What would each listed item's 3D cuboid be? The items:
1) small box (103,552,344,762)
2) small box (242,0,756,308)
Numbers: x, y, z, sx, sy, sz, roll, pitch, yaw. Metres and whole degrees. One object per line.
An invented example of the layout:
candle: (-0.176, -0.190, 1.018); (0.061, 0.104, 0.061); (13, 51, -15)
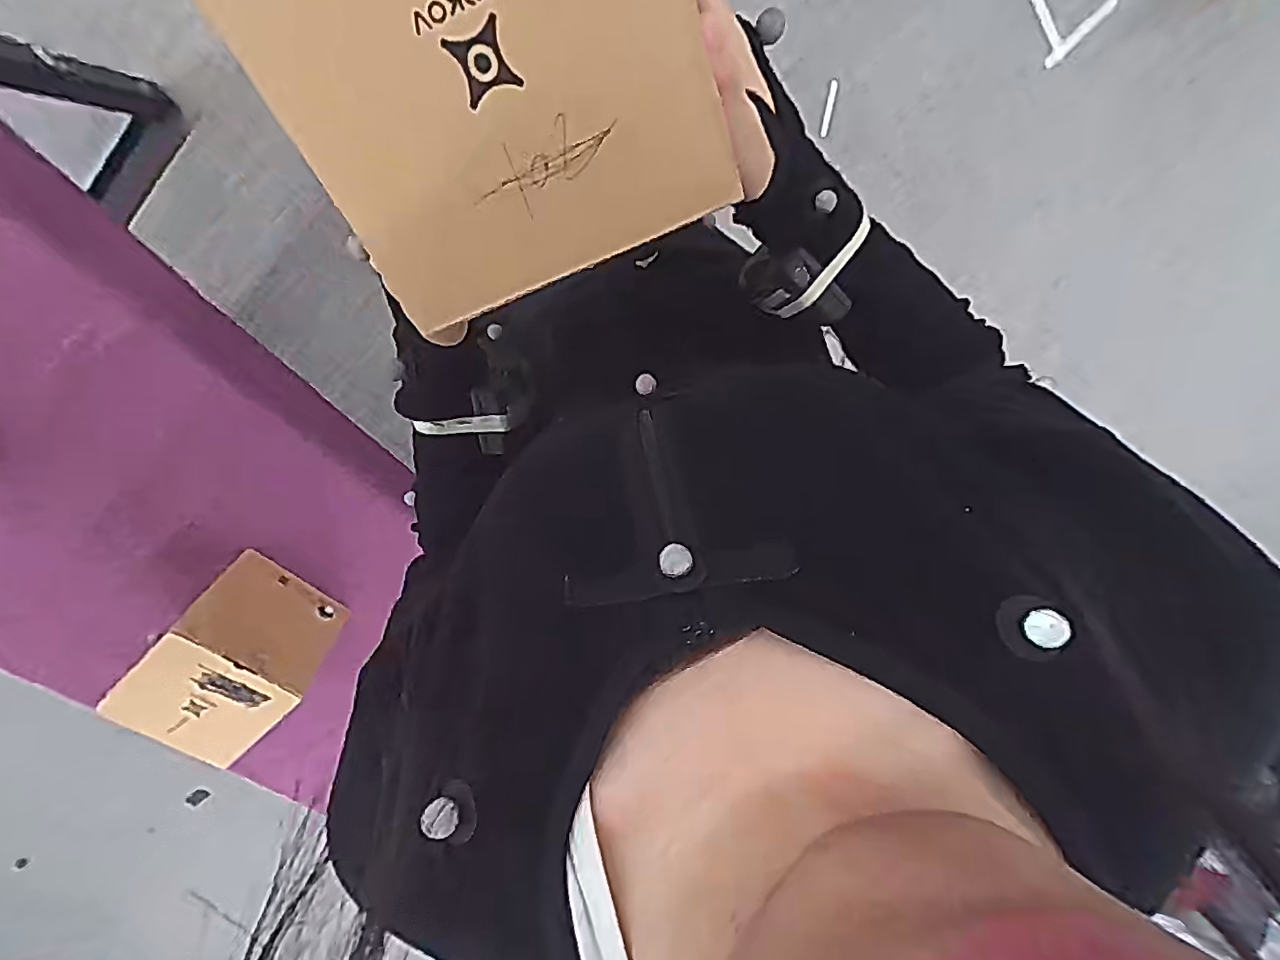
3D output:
small box: (-0.535, 0.230, 0.727); (0.179, 0.176, 0.168); (-40, 114, 14)
small box: (-0.059, -0.217, 0.263); (0.168, 0.176, 0.179); (-18, 126, 9)
